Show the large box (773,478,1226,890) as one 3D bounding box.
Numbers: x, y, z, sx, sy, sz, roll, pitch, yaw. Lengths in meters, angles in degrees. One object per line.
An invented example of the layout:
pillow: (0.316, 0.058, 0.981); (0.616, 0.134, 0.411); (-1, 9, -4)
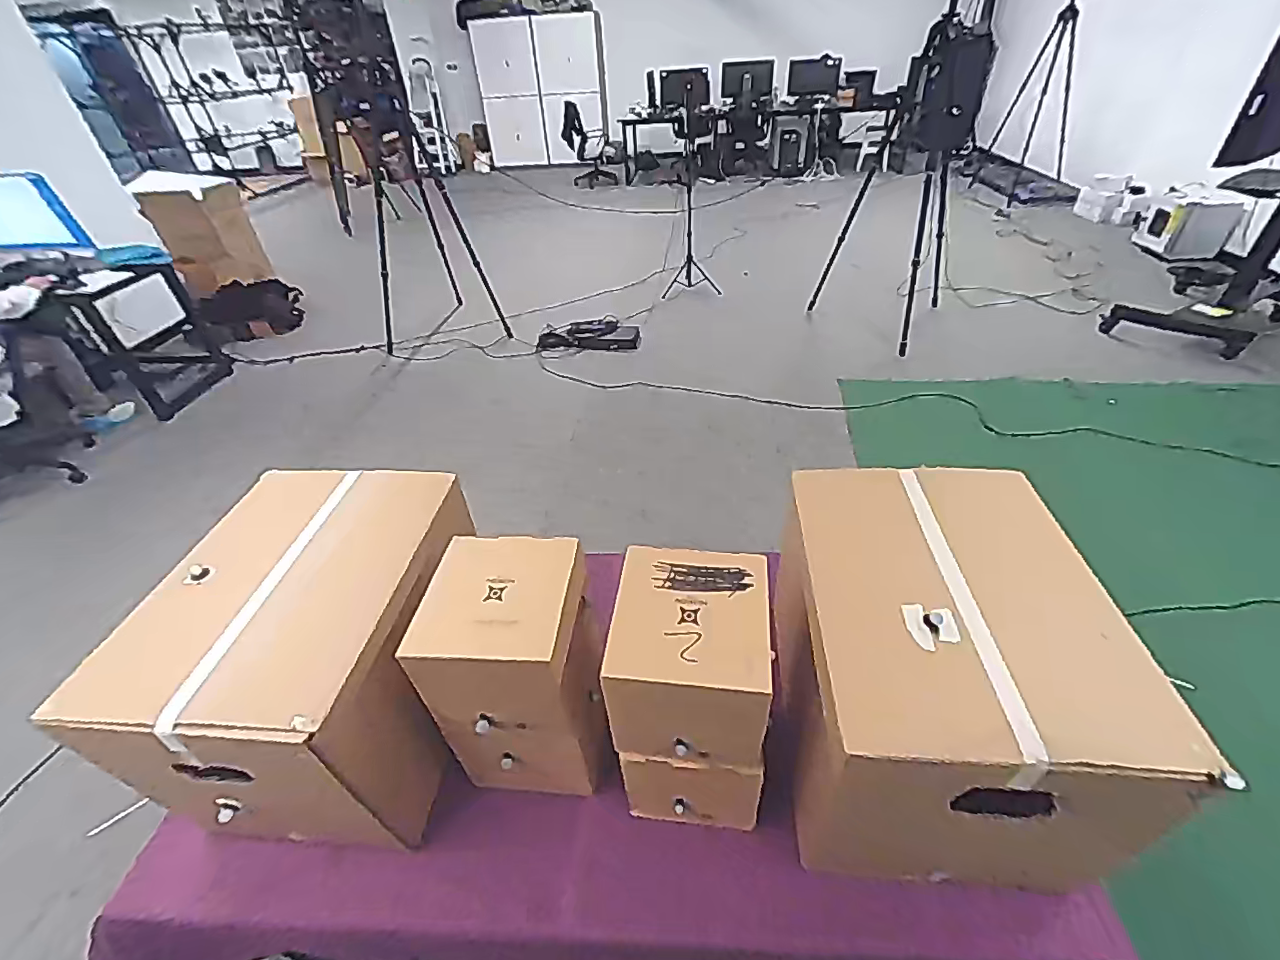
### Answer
large box: (0.366, 0.243, 0.714); (0.320, 0.320, 0.408); (1, 40, 7)
